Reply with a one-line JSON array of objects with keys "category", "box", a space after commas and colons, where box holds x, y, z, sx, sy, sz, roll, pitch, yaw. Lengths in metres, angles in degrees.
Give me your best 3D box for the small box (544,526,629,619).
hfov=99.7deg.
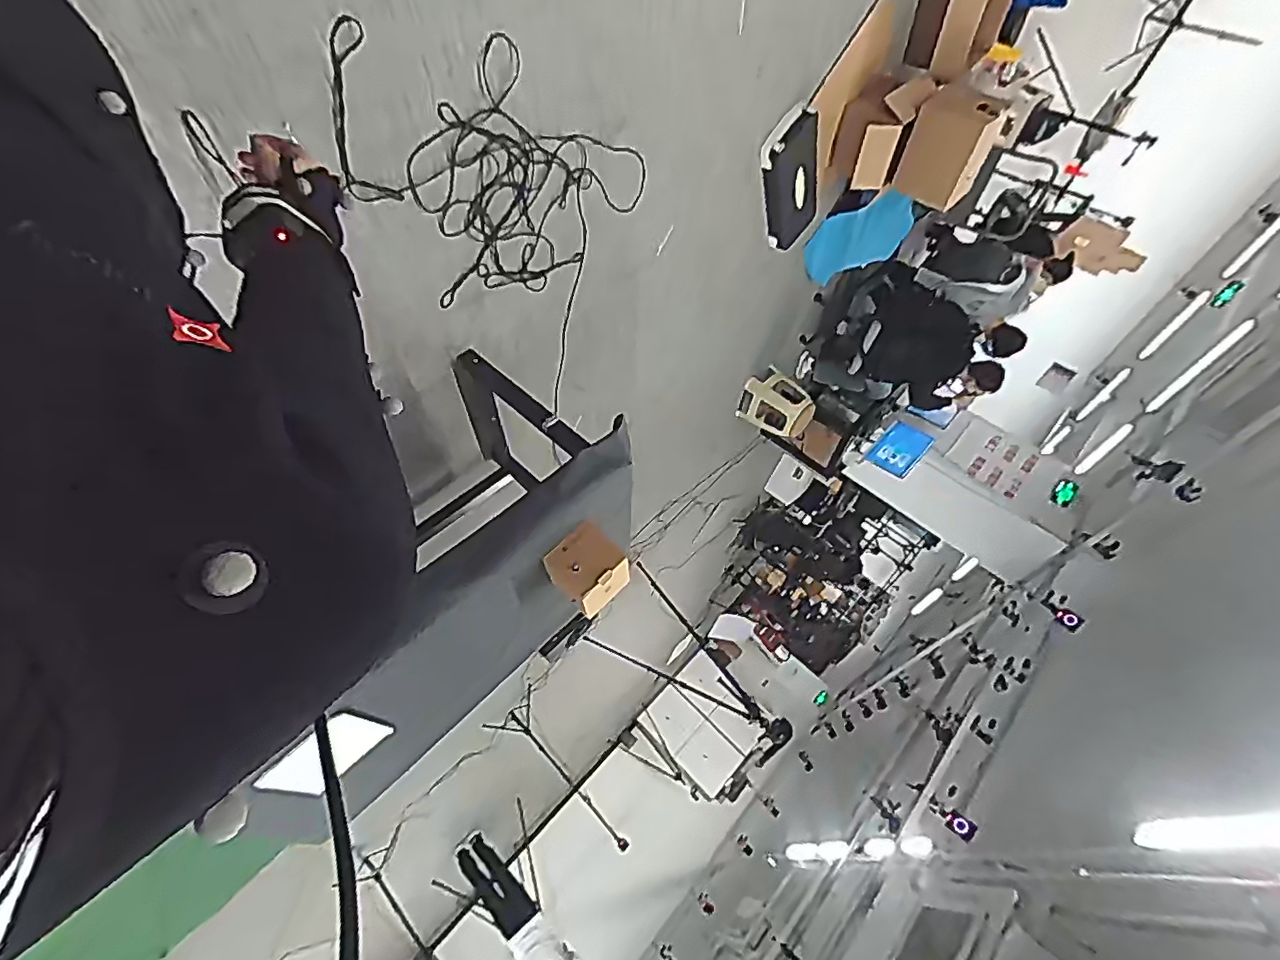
[{"category": "small box", "box": [-0.148, 0.253, 1.511, 0.168, 0.176, 0.179, -41, 156, -21]}]
